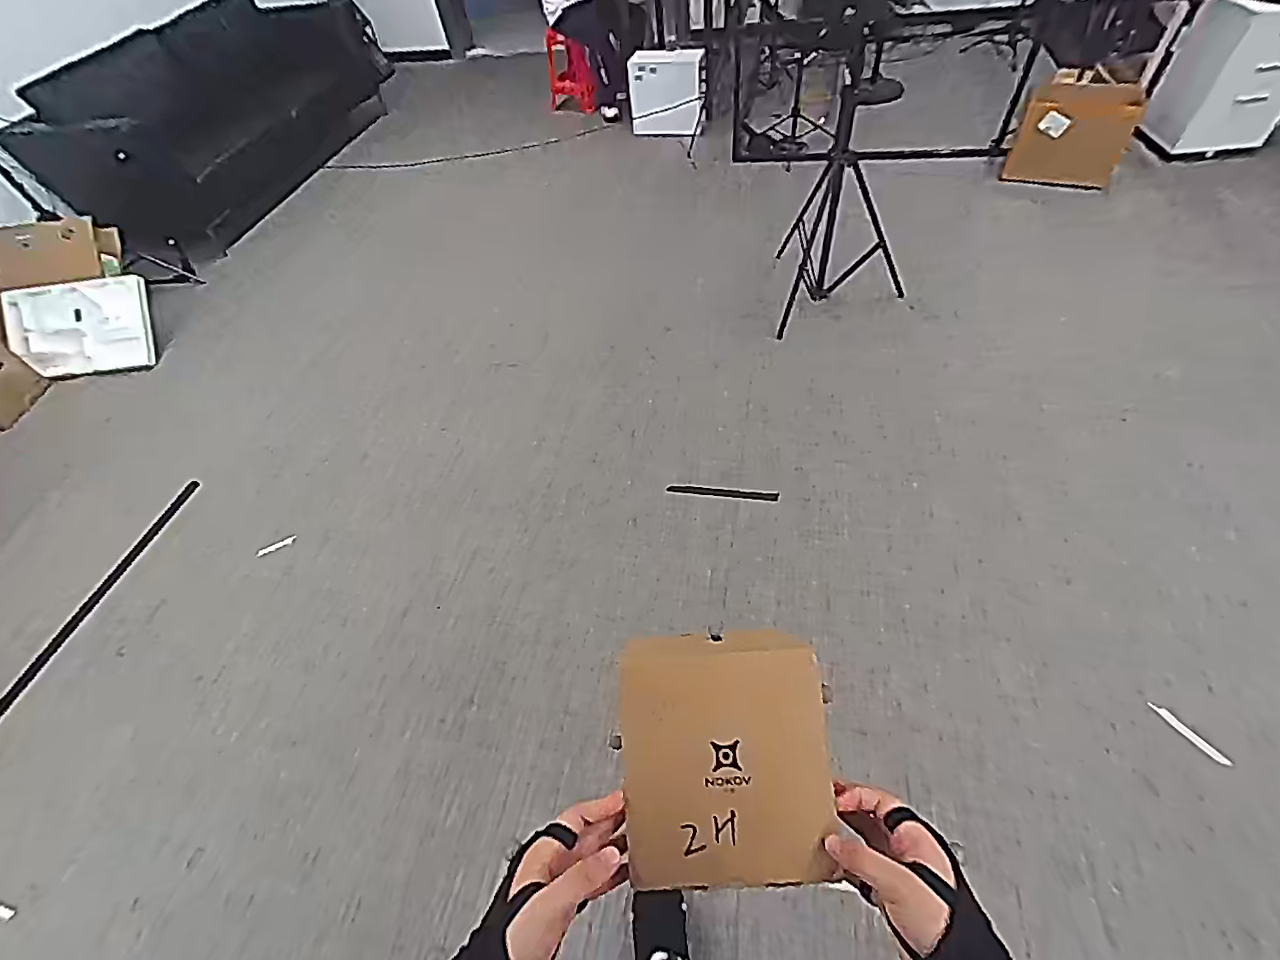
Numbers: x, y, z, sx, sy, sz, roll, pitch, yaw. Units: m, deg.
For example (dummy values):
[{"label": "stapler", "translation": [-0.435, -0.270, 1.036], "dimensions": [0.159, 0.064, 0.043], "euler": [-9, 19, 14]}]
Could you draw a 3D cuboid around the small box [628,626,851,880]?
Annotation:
[{"label": "small box", "translation": [0.079, 0.233, 0.507], "dimensions": [0.168, 0.176, 0.179], "euler": [-5, 80, 4]}]
